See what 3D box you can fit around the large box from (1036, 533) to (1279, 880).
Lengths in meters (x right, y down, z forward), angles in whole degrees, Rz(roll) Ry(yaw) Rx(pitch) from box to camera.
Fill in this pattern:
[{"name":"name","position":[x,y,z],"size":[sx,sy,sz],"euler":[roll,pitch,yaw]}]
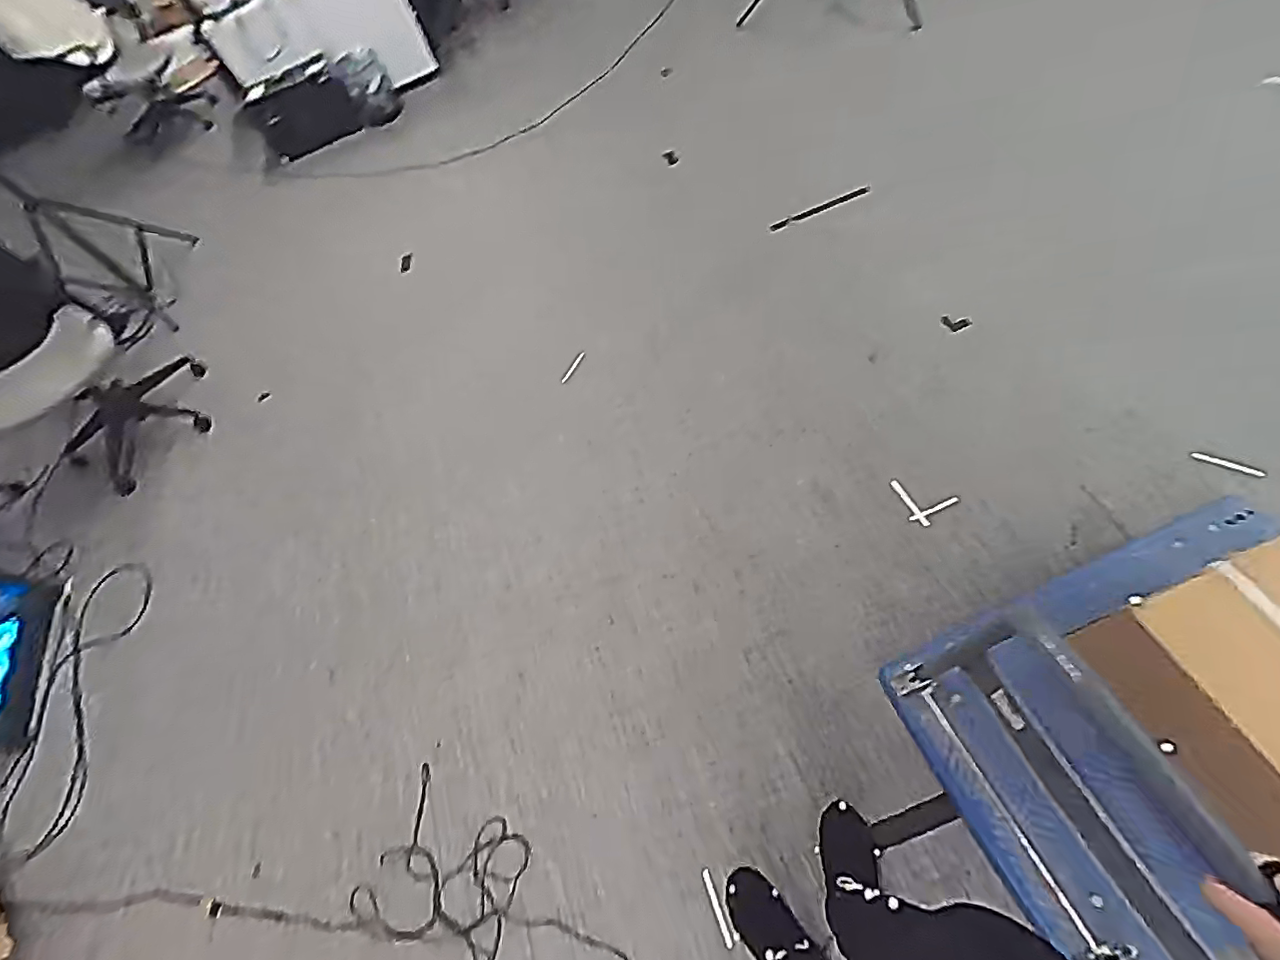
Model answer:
[{"name":"large box","position":[0.991,0.370,0.894],"size":[0.320,0.320,0.408],"euler":[-25,58,-2]}]
